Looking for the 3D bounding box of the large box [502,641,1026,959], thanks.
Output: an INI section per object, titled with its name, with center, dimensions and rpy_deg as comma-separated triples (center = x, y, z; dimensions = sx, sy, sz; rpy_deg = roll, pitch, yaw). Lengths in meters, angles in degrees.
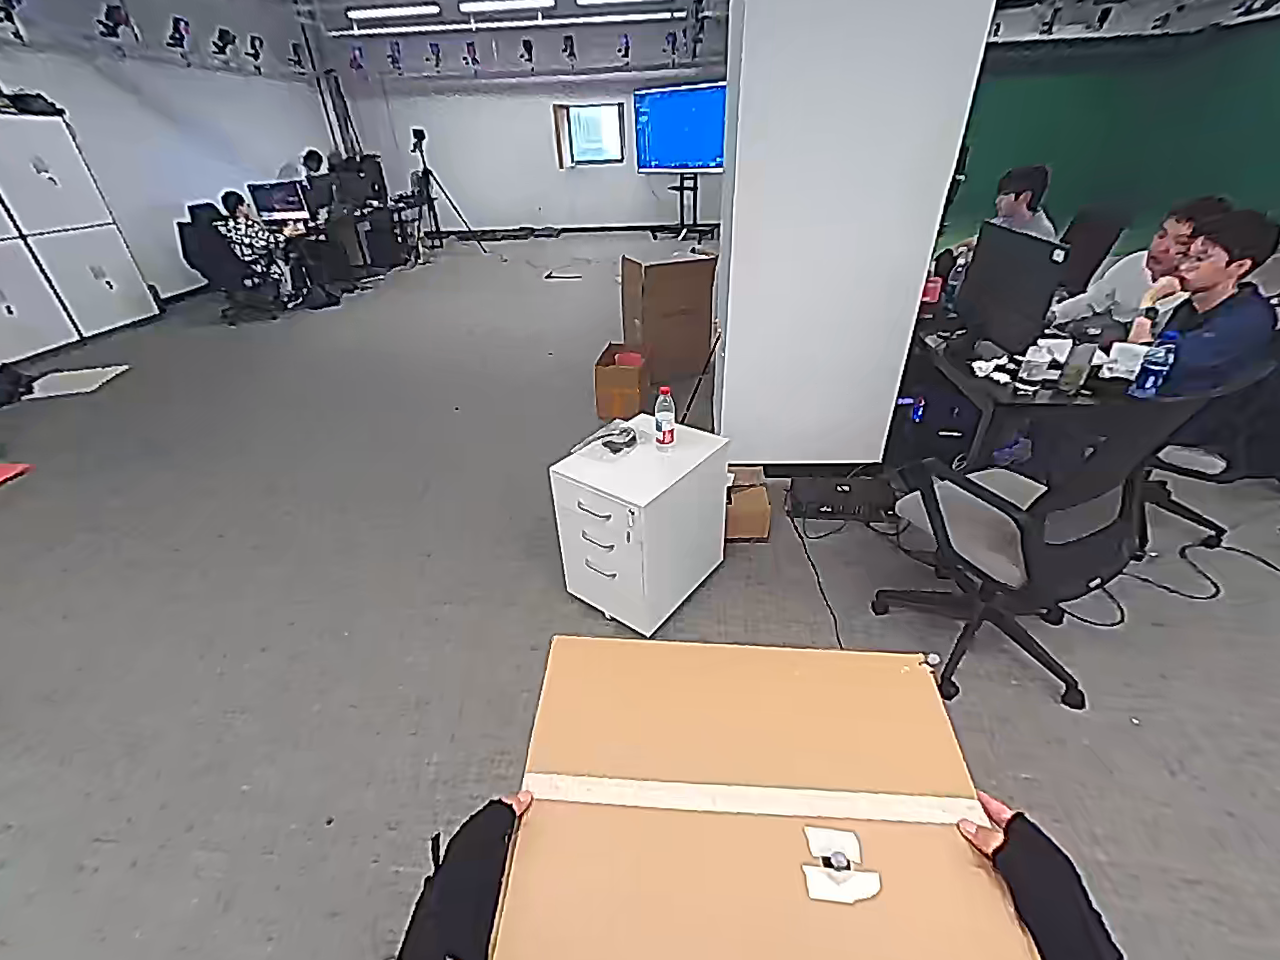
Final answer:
[large box]
center = 0.098, 0.401, 0.588
dimensions = 0.408, 0.320, 0.320
rpy_deg = 3, 42, 3
